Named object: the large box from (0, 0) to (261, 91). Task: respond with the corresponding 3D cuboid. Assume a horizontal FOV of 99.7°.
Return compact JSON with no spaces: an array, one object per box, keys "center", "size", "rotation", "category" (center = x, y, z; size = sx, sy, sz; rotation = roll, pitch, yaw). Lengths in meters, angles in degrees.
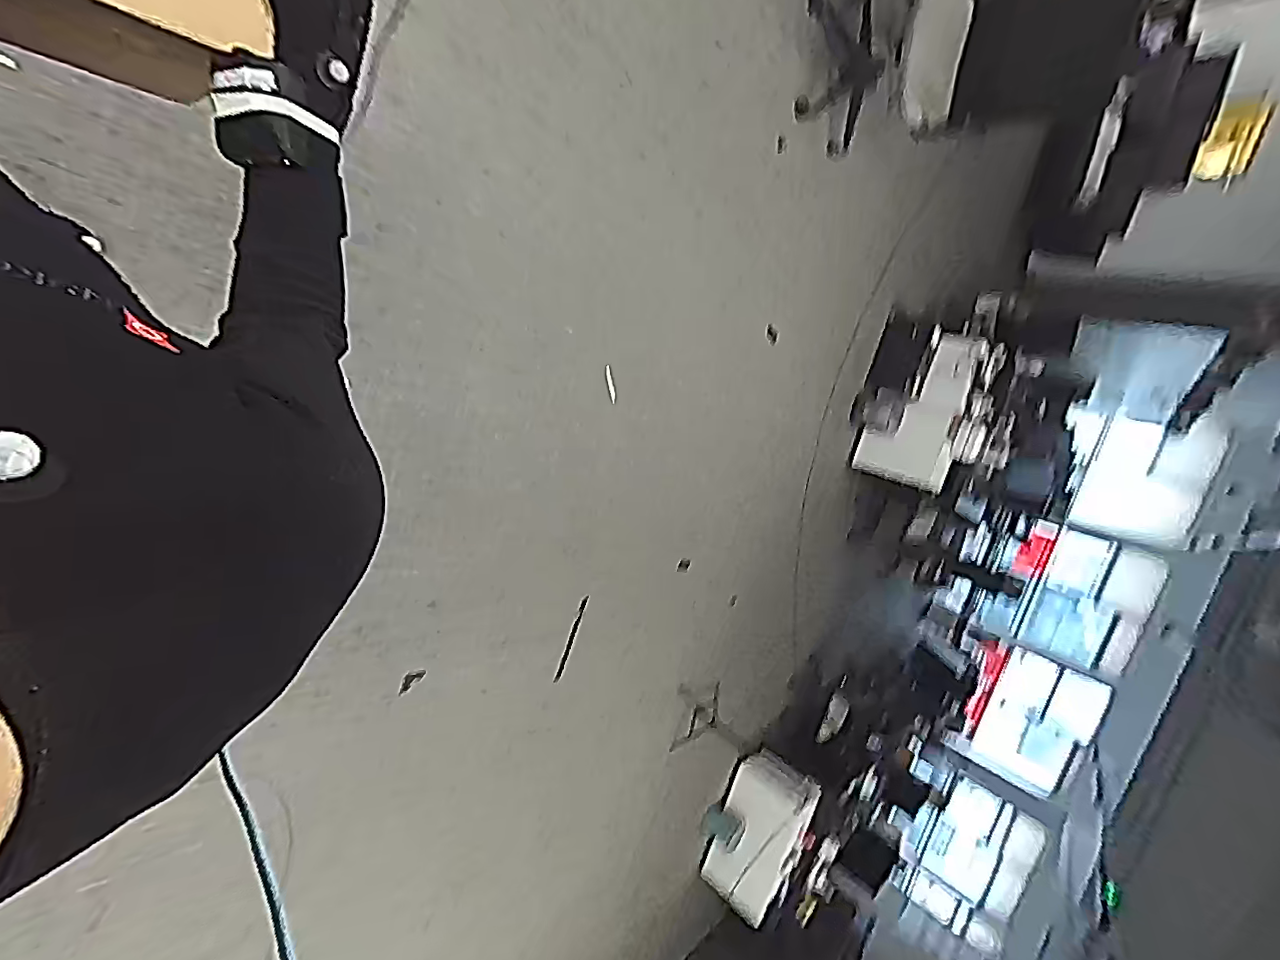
[{"center":[-0.492,-0.483,0.297],"size":[0.408,0.320,0.320],"rotation":[-8,117,-48],"category":"large box"}]
